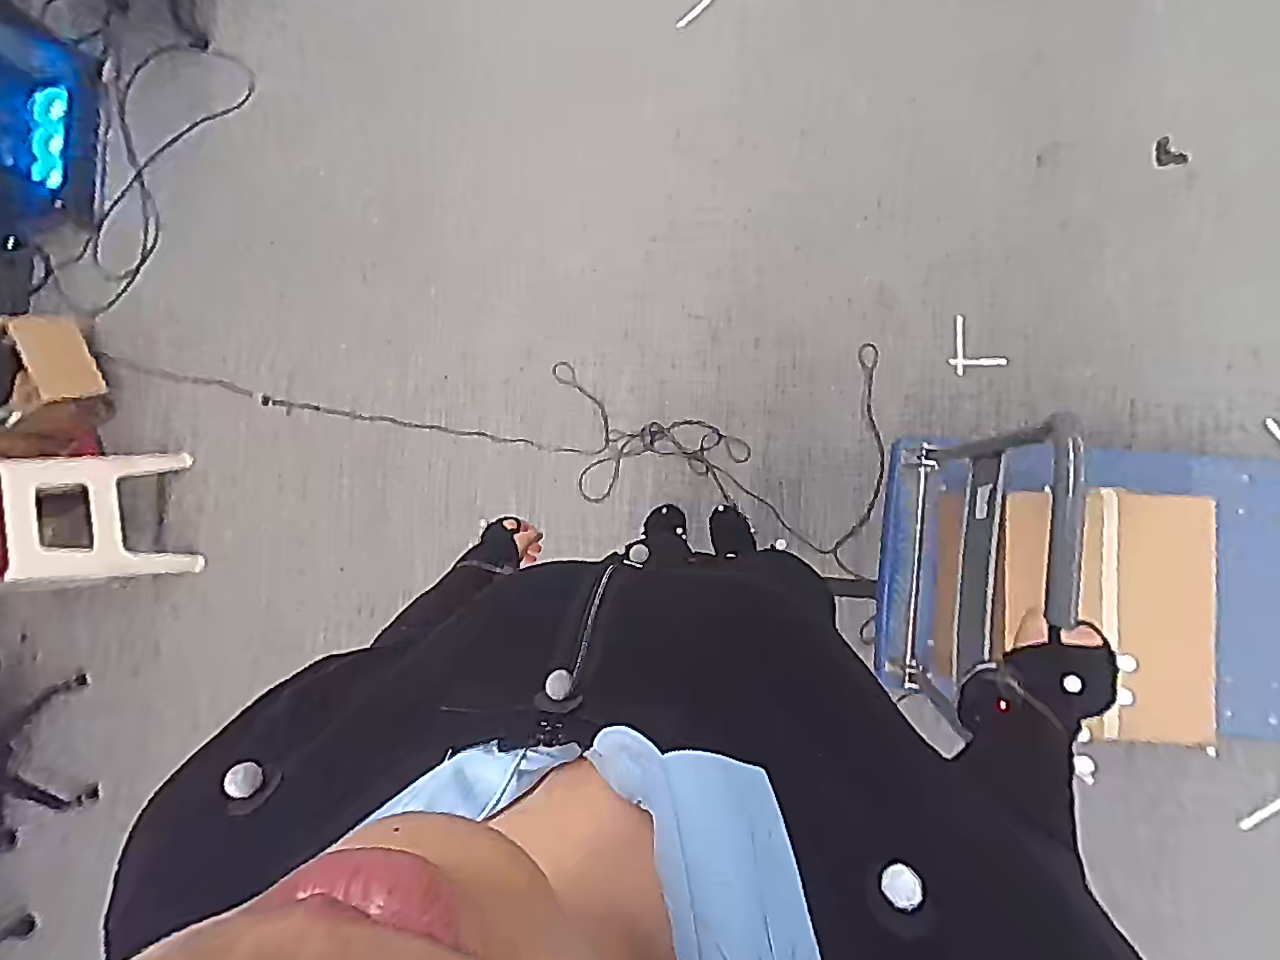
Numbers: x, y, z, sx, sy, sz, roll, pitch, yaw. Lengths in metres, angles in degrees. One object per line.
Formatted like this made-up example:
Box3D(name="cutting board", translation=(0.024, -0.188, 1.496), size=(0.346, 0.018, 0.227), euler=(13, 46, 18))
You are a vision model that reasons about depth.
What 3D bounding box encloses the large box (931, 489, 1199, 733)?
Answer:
Box3D(name="large box", translation=(0.794, 0.221, 1.063), size=(0.320, 0.320, 0.408), euler=(1, 89, 10))
